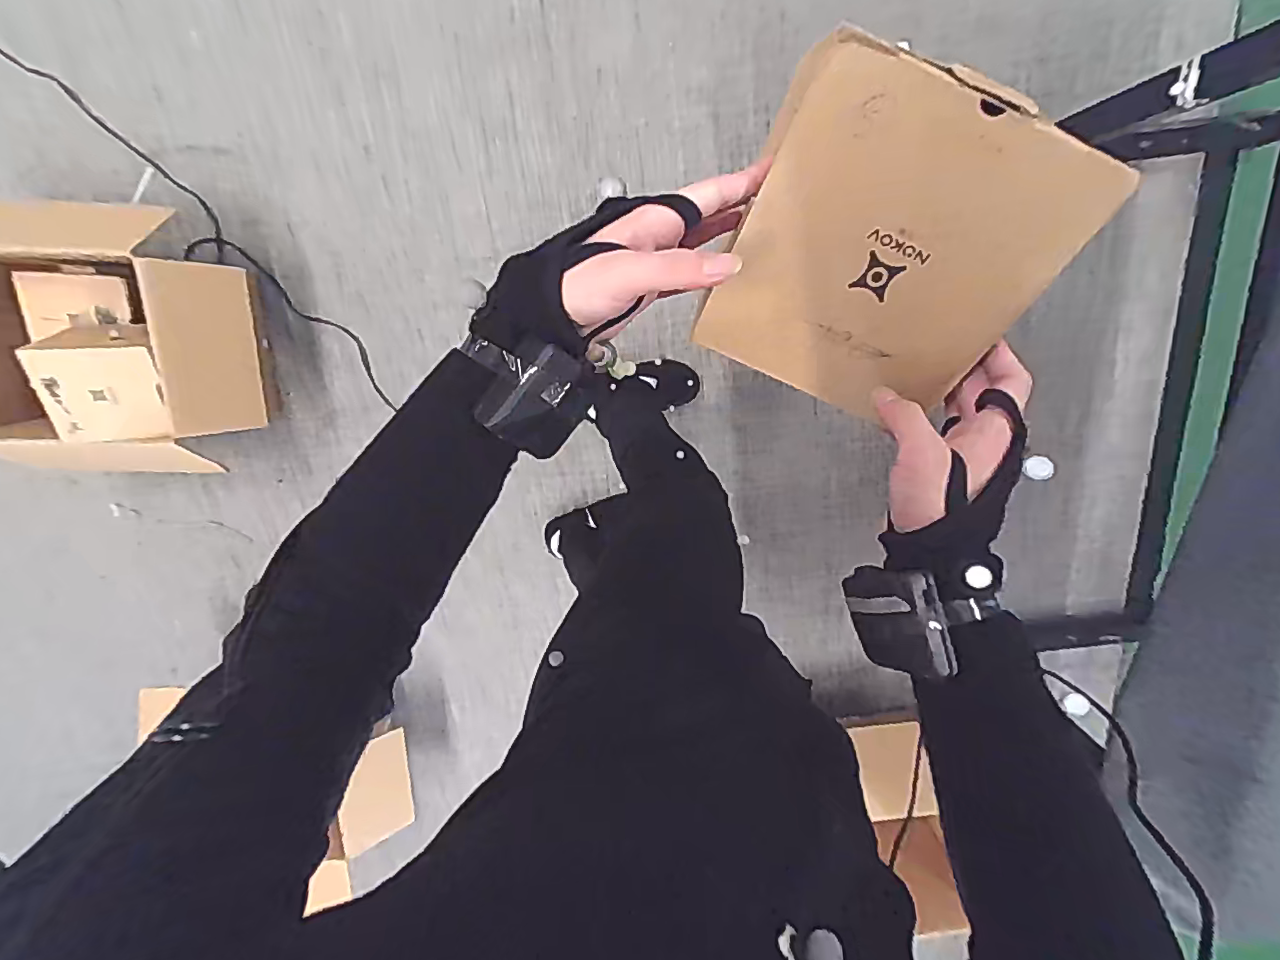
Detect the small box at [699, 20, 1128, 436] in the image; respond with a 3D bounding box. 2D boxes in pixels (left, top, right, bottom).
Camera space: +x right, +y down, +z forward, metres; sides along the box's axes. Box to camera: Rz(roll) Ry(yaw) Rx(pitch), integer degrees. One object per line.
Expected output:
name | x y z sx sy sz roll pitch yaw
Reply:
small box | 0.153 -0.167 0.375 0.168 0.176 0.179 23 125 -4
